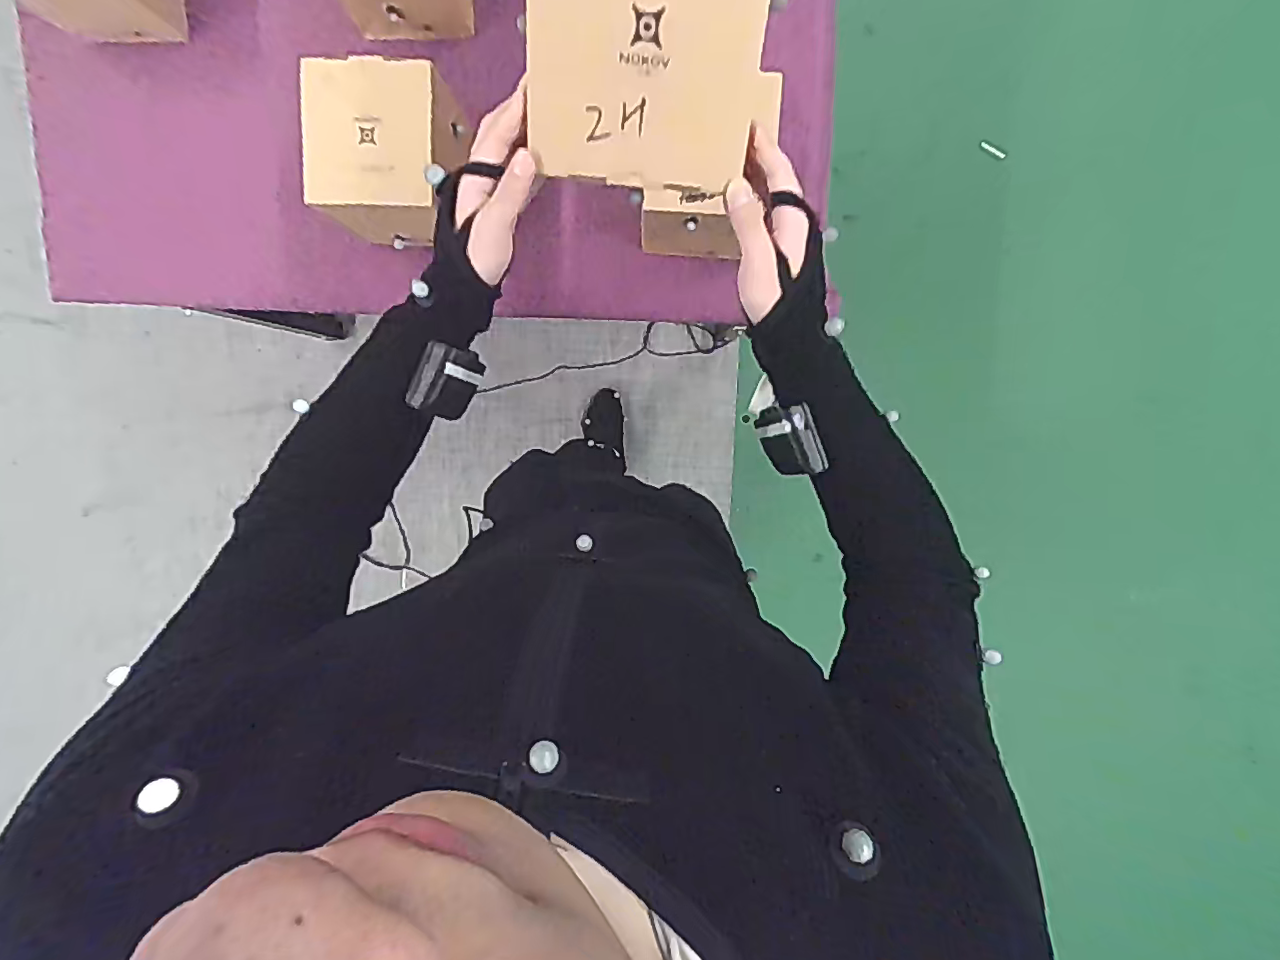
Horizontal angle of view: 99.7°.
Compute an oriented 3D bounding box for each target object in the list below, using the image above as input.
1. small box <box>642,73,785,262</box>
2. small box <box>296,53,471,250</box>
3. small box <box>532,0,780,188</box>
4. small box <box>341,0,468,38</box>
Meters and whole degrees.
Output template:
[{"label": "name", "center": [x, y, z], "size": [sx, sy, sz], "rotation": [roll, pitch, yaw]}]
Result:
[{"label": "small box", "center": [0.090, -0.422, 0.746], "size": [0.168, 0.176, 0.179], "rotation": [4, 95, 0]}, {"label": "small box", "center": [-0.339, -0.436, 0.742], "size": [0.168, 0.176, 0.179], "rotation": [2, 97, 0]}, {"label": "small box", "center": [0.010, -0.343, 0.435], "size": [0.168, 0.176, 0.179], "rotation": [6, 118, -2]}, {"label": "small box", "center": [-0.332, -0.731, 0.706], "size": [0.168, 0.176, 0.179], "rotation": [-1, 98, -1]}]
